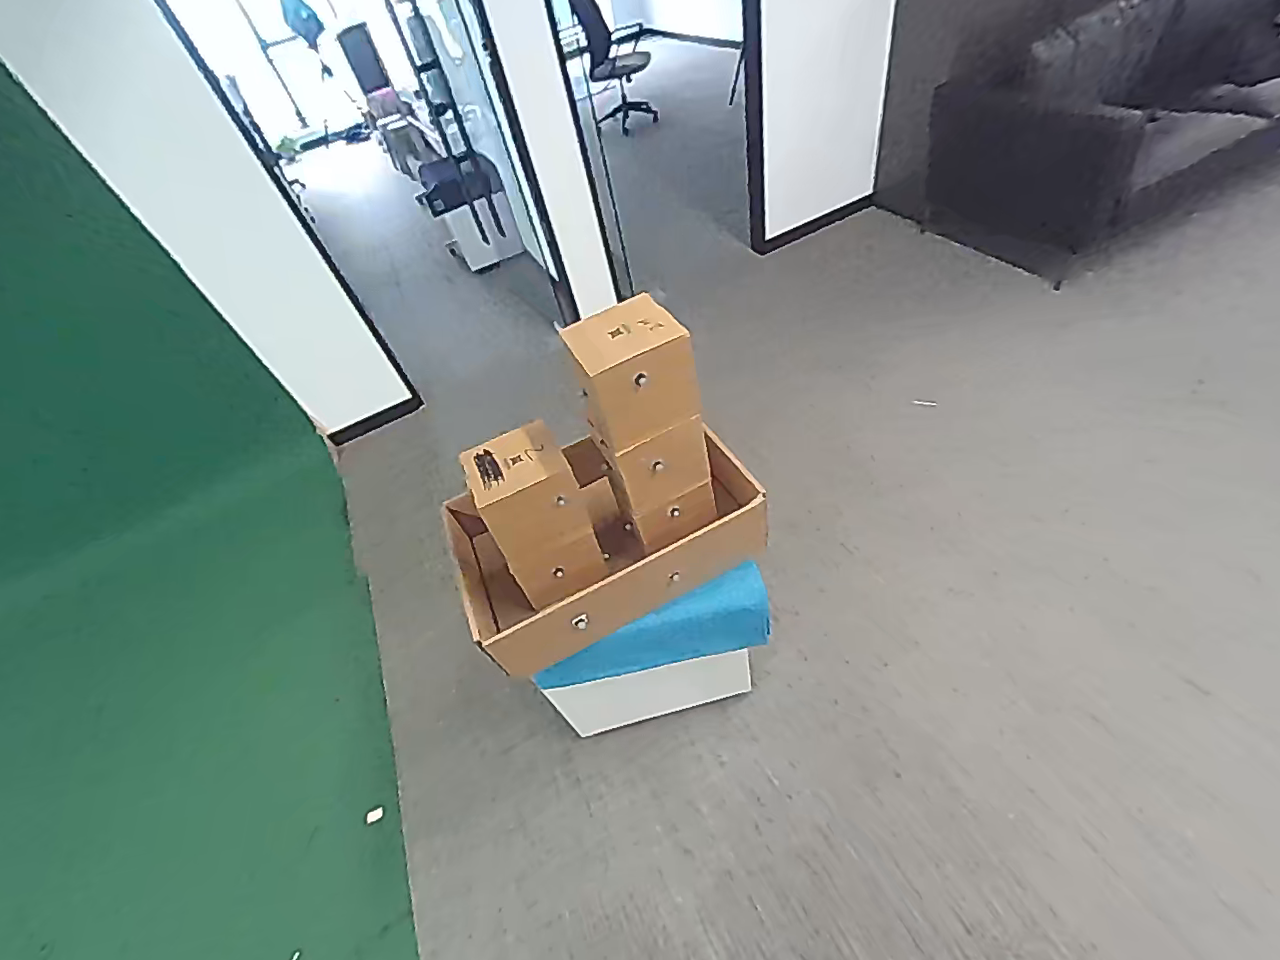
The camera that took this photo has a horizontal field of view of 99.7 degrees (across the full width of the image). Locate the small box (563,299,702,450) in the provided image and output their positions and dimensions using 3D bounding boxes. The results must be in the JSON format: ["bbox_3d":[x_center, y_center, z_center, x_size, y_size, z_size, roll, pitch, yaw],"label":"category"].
[{"bbox_3d":[-0.009,-0.181,0.948,0.179,0.176,0.168,-26,47,-7],"label":"small box"}]

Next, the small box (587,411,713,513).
[{"bbox_3d":[0.025,-0.066,1.061,0.179,0.176,0.168,-28,47,-7],"label":"small box"}]
